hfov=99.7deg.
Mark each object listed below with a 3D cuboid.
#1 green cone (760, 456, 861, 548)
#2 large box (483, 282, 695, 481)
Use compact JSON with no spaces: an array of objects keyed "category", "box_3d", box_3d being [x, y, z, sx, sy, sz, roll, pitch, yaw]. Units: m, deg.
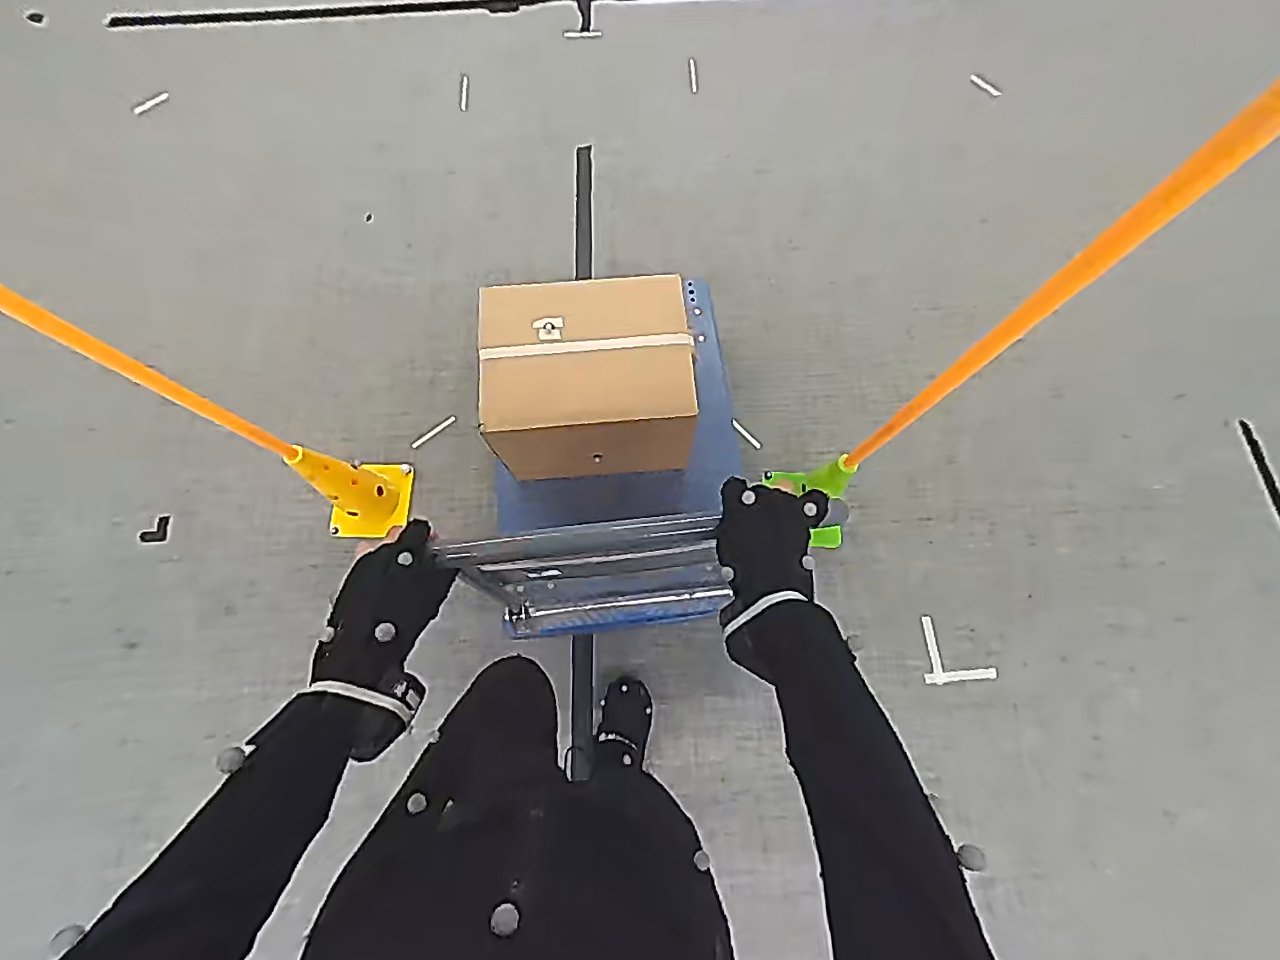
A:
[{"category":"green cone","box_3d":[0.423,0.028,1.269,0.202,0.368,0.200,2,73,0]},{"category":"large box","box_3d":[-0.103,-0.197,1.194,0.408,0.320,0.320,-4,73,0]}]
